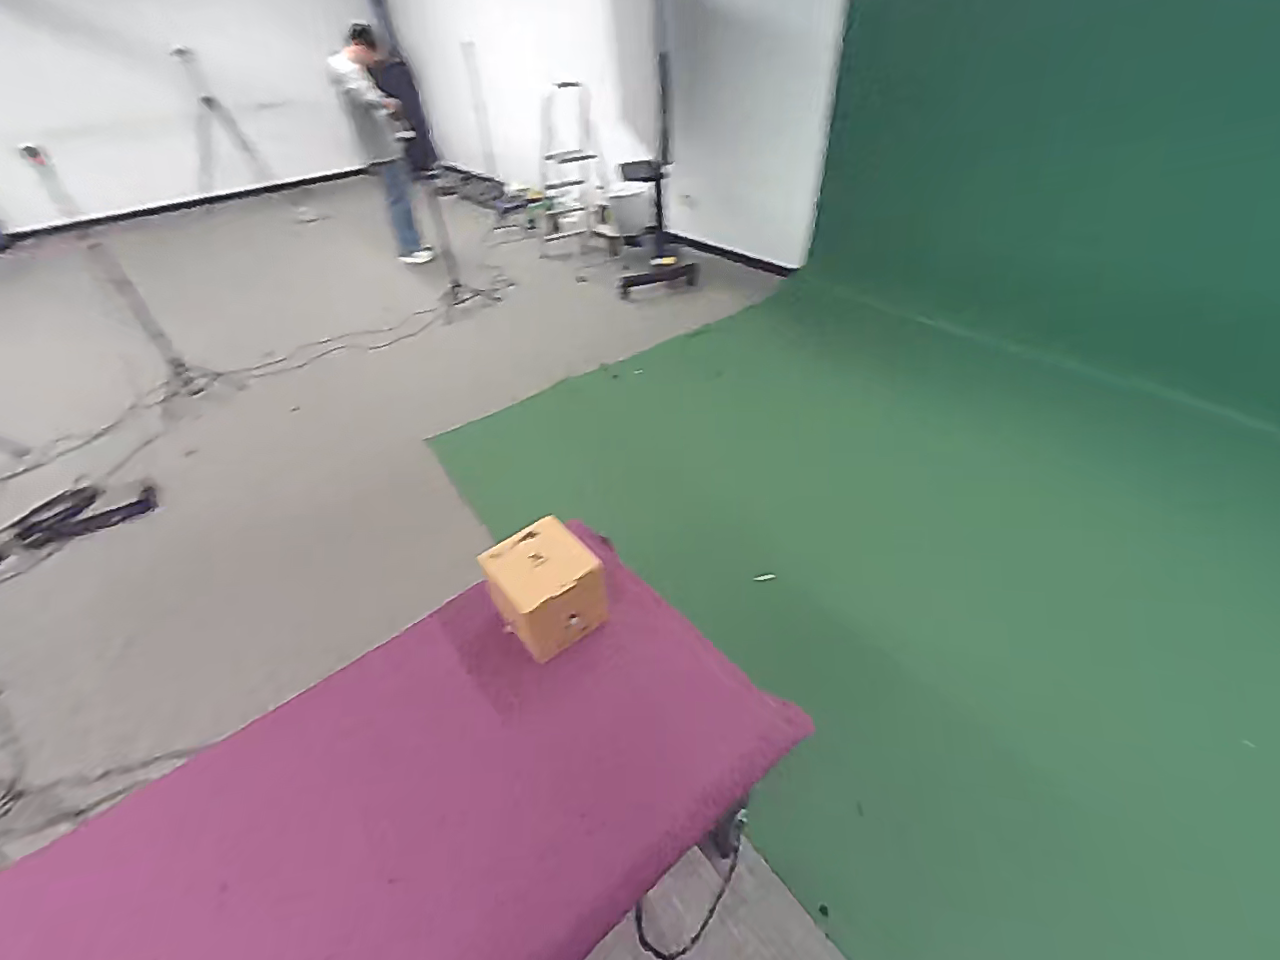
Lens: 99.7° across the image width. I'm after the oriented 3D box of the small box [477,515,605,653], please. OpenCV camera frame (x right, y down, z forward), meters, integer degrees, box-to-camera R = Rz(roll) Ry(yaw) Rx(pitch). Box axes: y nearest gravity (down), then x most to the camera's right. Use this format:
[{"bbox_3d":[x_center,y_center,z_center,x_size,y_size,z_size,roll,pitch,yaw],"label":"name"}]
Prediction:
[{"bbox_3d":[-0.183,0.207,1.046,0.168,0.176,0.179,-31,48,-26],"label":"small box"}]
